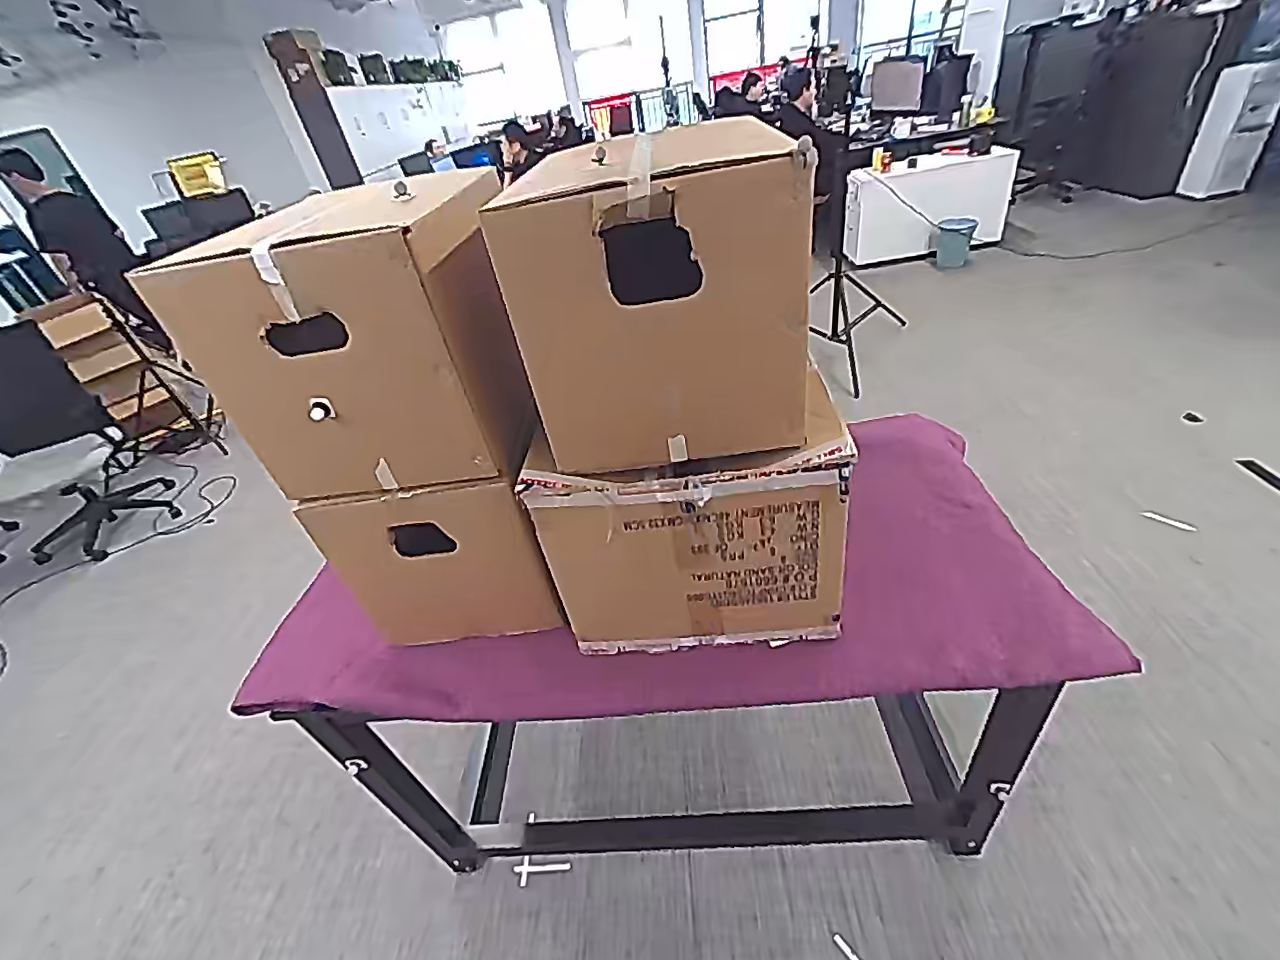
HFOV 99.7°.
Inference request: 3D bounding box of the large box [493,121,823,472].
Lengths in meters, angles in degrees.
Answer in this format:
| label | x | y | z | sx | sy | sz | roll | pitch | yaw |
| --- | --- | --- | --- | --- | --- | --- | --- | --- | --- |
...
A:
| label | x | y | z | sx | sy | sz | roll | pitch | yaw |
| --- | --- | --- | --- | --- | --- | --- | --- | --- | --- |
| large box | 0.035 | -0.264 | 0.733 | 0.320 | 0.320 | 0.408 | -8 | 37 | 7 |
